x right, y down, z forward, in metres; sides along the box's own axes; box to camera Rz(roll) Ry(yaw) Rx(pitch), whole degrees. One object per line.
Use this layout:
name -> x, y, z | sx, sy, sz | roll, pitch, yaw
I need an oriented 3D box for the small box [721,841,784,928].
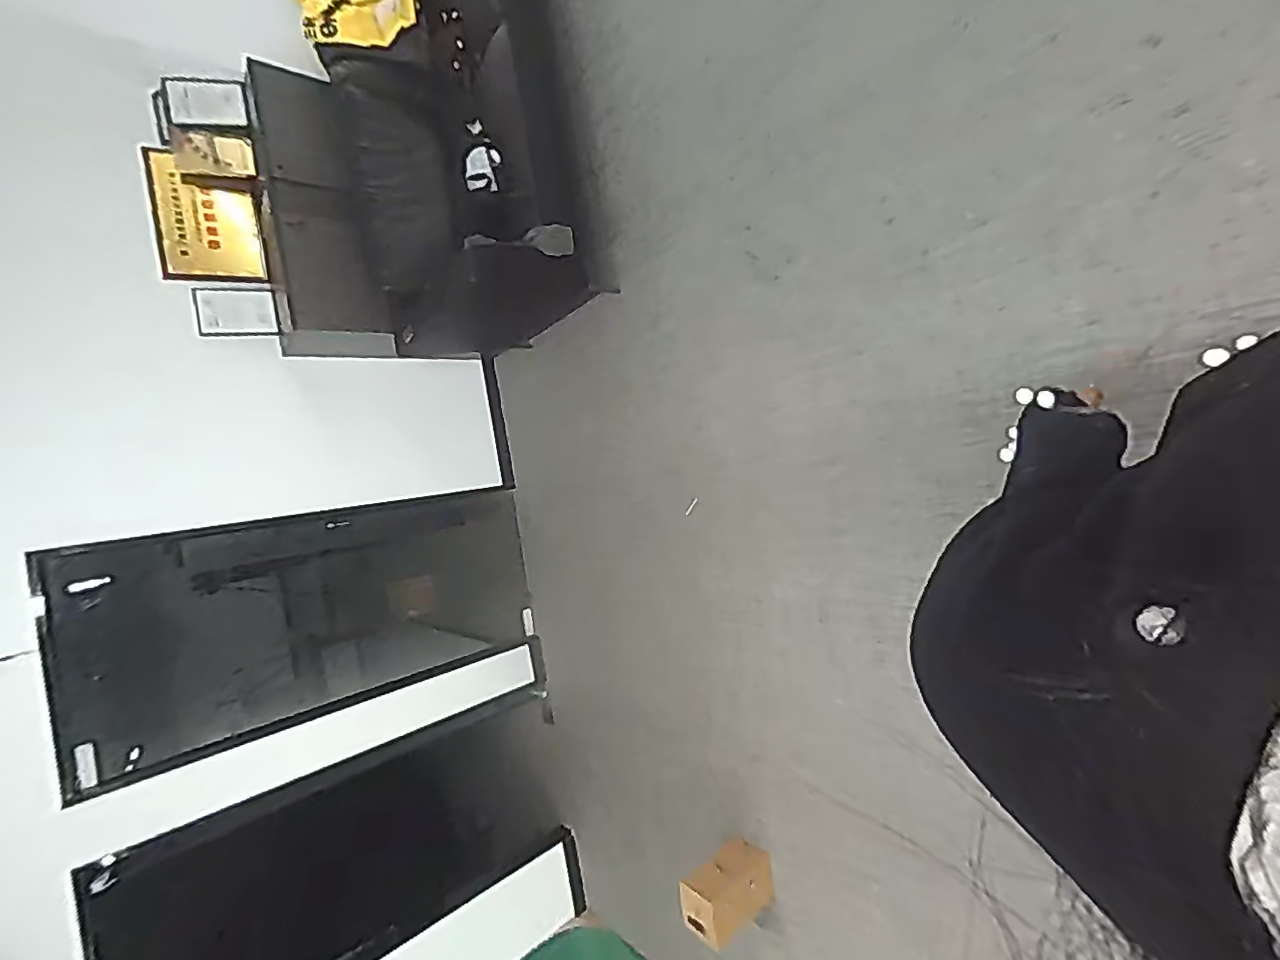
small box -> 0.434, 1.545, 2.082 | 0.168, 0.176, 0.179 | -2, 95, 51
